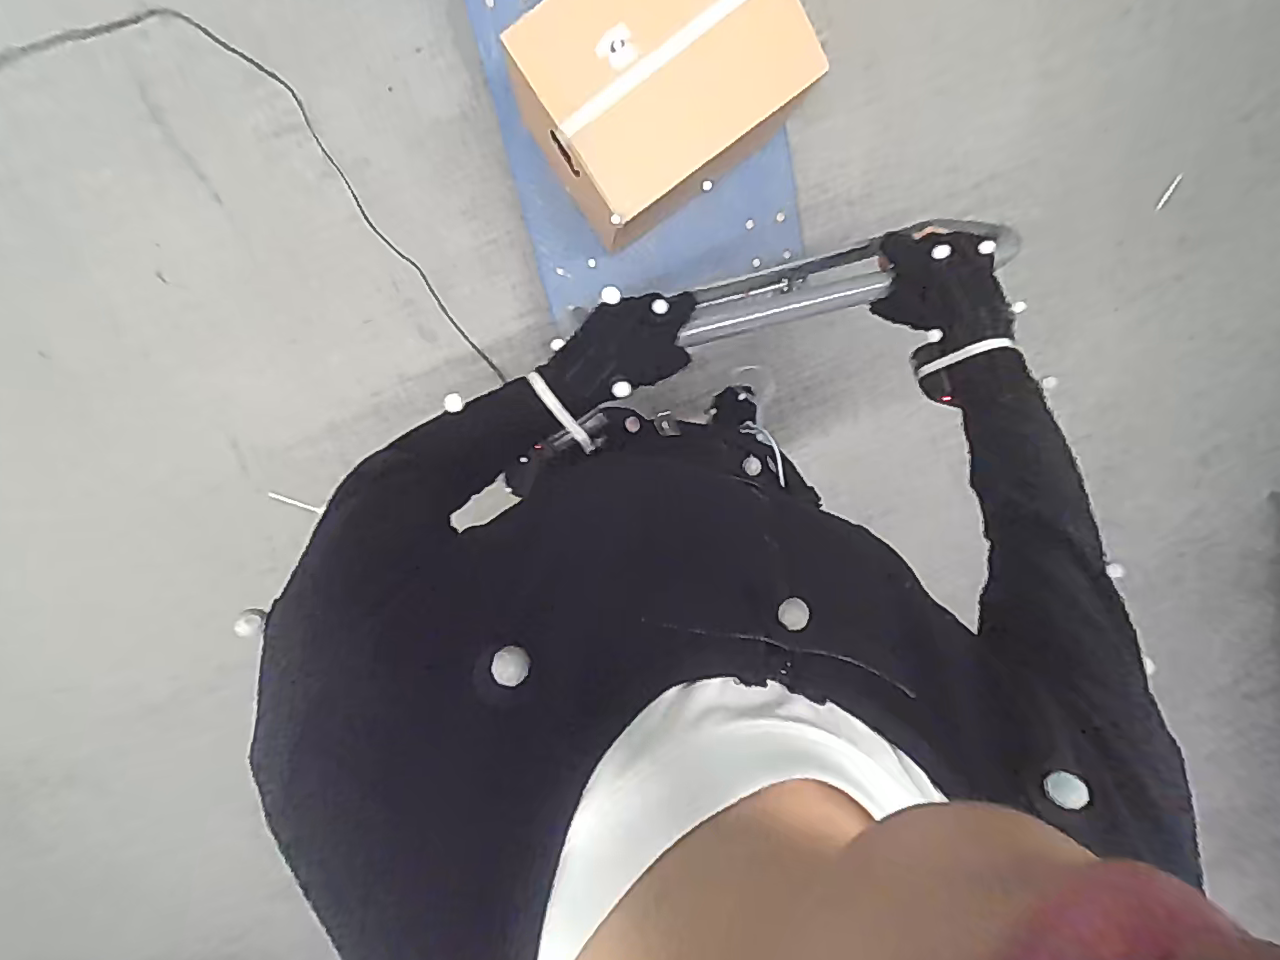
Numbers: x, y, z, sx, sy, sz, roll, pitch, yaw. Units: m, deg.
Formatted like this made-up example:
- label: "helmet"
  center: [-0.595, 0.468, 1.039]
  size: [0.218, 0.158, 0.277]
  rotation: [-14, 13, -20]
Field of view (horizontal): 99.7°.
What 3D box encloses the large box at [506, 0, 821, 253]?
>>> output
- label: "large box"
  center: [0.030, -0.681, 0.973]
  size: [0.408, 0.320, 0.320]
  rotation: [-35, 103, 4]
